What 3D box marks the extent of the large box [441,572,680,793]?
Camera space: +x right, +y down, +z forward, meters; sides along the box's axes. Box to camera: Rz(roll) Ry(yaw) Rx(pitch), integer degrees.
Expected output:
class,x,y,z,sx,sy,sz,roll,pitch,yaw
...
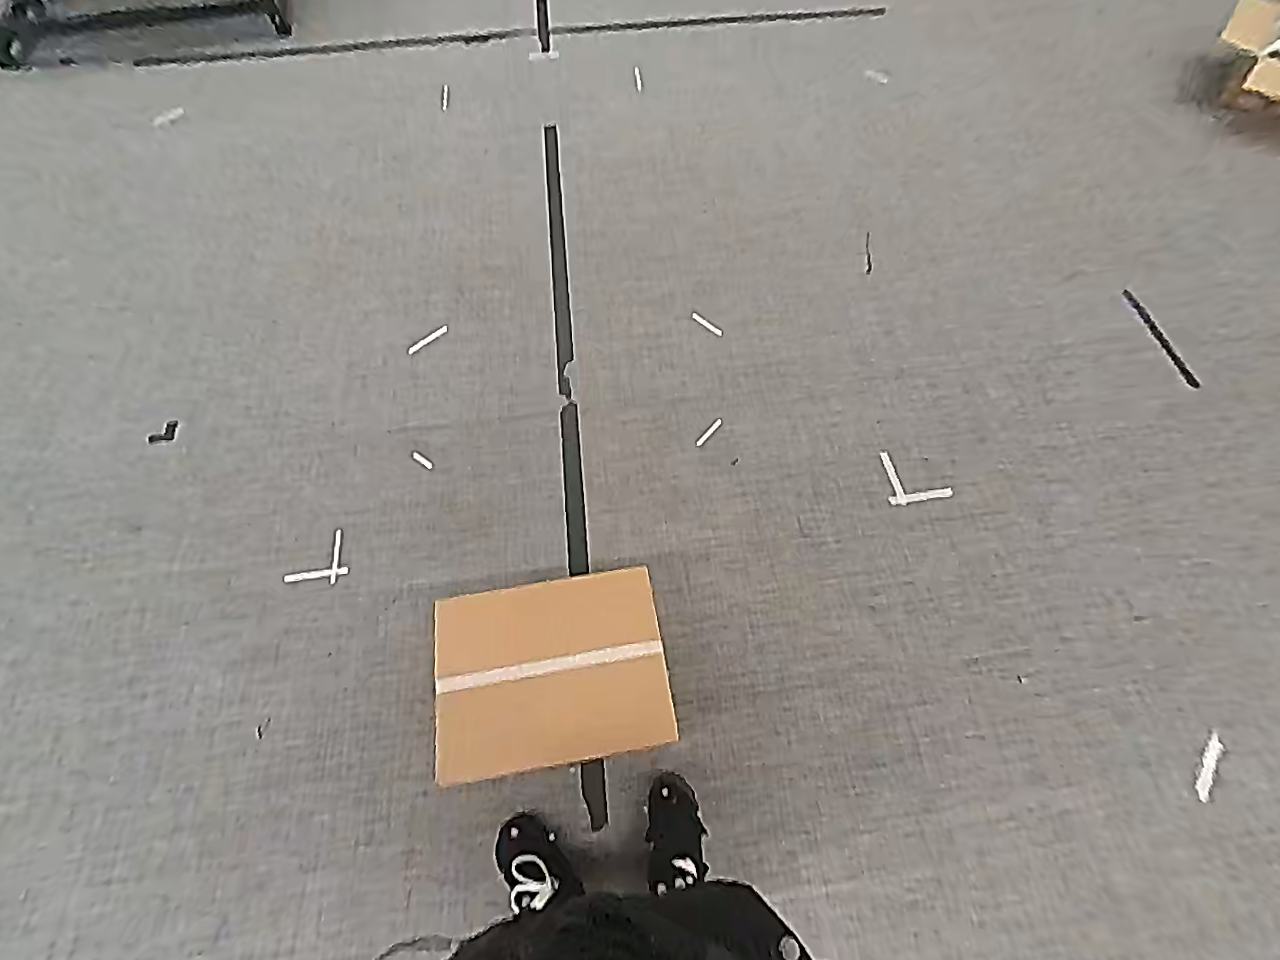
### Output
class,x,y,z,sx,sy,sz,roll,pitch,yaw
large box,-0.152,0.412,1.095,0.408,0.320,0.320,-9,64,-4
